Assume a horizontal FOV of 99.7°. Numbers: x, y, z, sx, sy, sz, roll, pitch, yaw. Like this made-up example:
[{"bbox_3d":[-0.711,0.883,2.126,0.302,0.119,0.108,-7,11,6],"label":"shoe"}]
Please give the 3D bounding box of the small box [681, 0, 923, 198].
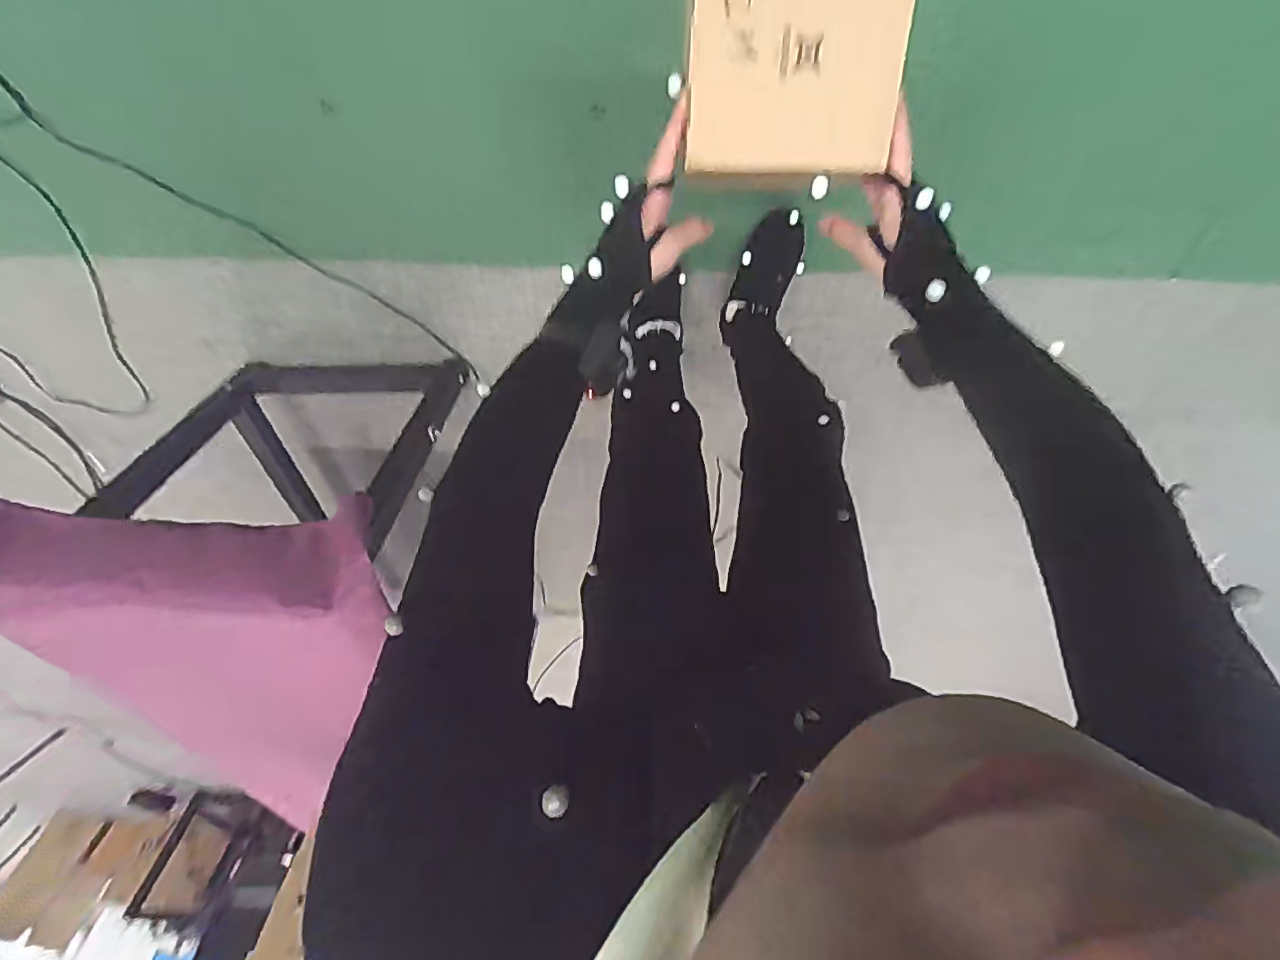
[{"bbox_3d":[0.132,-0.363,0.503,0.179,0.176,0.168,2,113,2],"label":"small box"}]
